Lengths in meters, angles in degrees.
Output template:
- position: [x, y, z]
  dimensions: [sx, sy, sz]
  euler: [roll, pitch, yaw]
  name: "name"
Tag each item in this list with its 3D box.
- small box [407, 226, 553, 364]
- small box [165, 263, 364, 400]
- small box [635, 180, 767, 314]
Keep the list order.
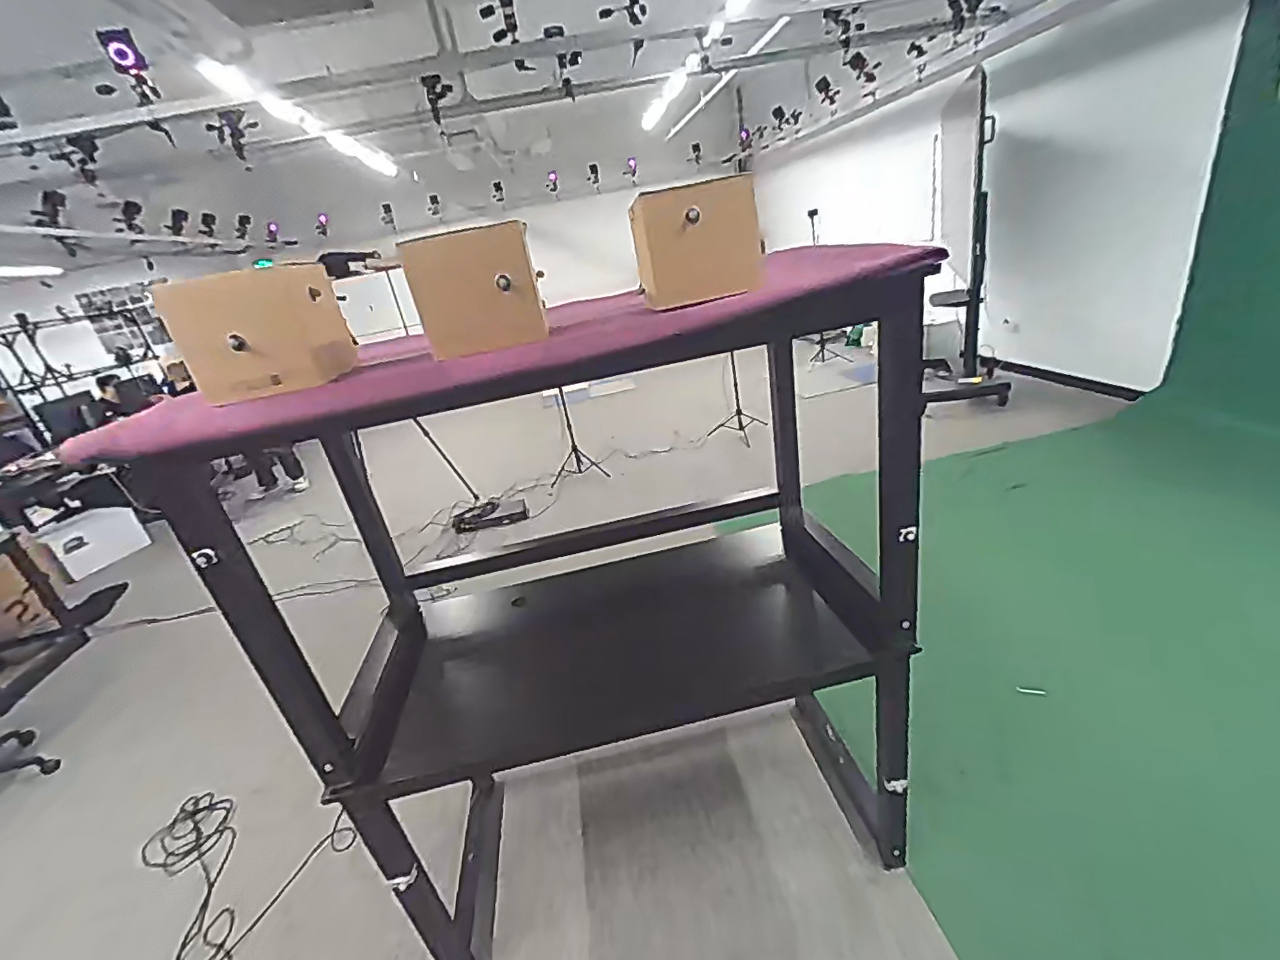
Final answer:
- position: [-0.238, -0.294, 0.859]
  dimensions: [0.179, 0.176, 0.168]
  euler: [-13, 22, -4]
  name: "small box"
- position: [-0.551, -0.228, 0.828]
  dimensions: [0.168, 0.176, 0.179]
  euler: [-11, 23, -5]
  name: "small box"
- position: [0.098, -0.379, 0.903]
  dimensions: [0.179, 0.176, 0.168]
  euler: [-12, 20, -2]
  name: "small box"
